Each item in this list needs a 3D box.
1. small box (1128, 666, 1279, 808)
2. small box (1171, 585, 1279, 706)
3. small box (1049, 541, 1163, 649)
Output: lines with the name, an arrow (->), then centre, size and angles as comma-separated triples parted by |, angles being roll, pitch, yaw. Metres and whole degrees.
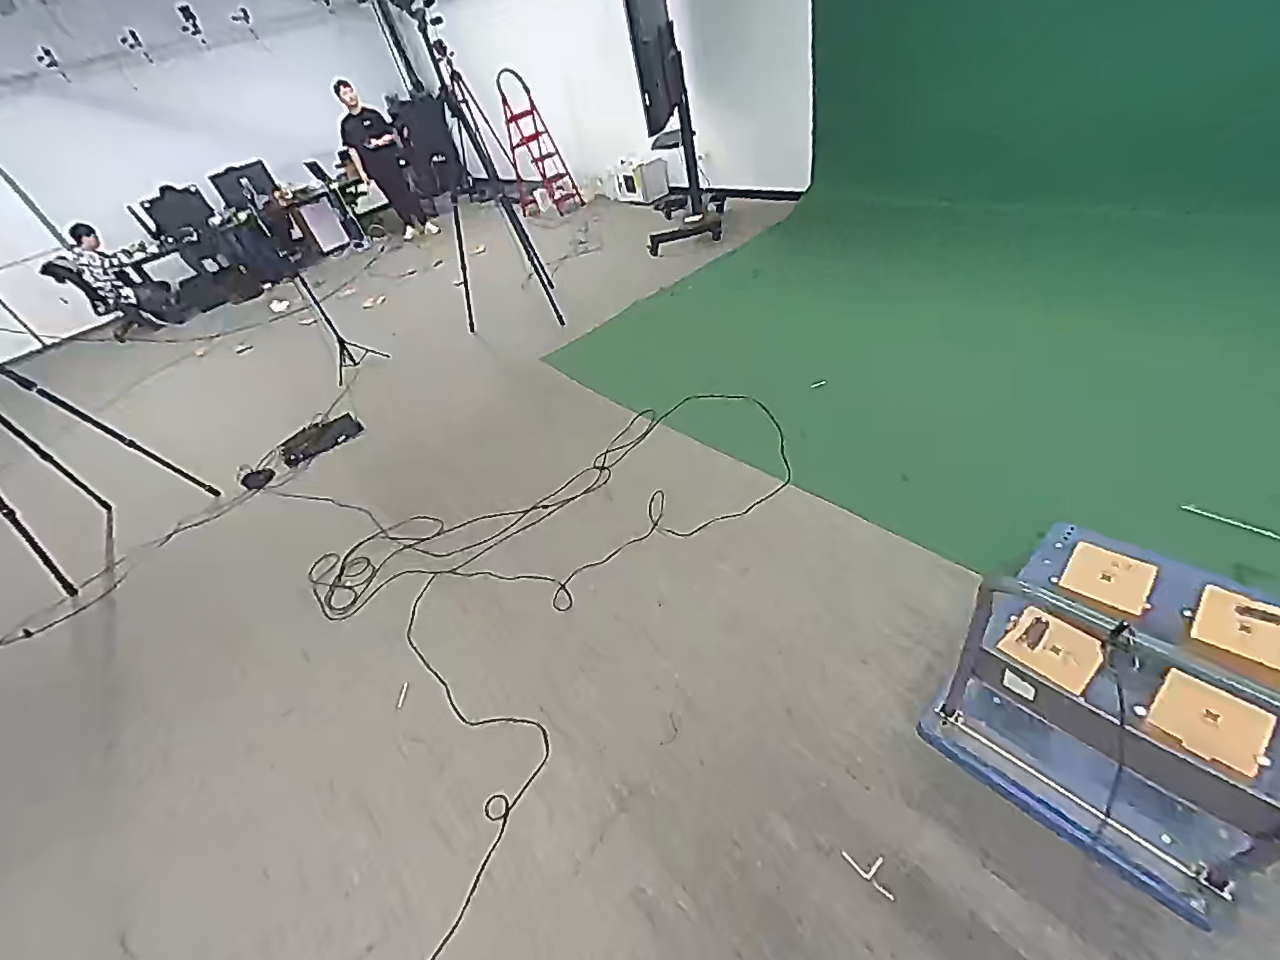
small box -> 1.177, 0.538, 1.135 | 0.179, 0.176, 0.168 | -38, 45, -22
small box -> 1.372, 0.383, 1.239 | 0.168, 0.176, 0.179 | 25, 57, 40
small box -> 1.195, 0.299, 1.397 | 0.168, 0.176, 0.179 | 26, 56, 38
